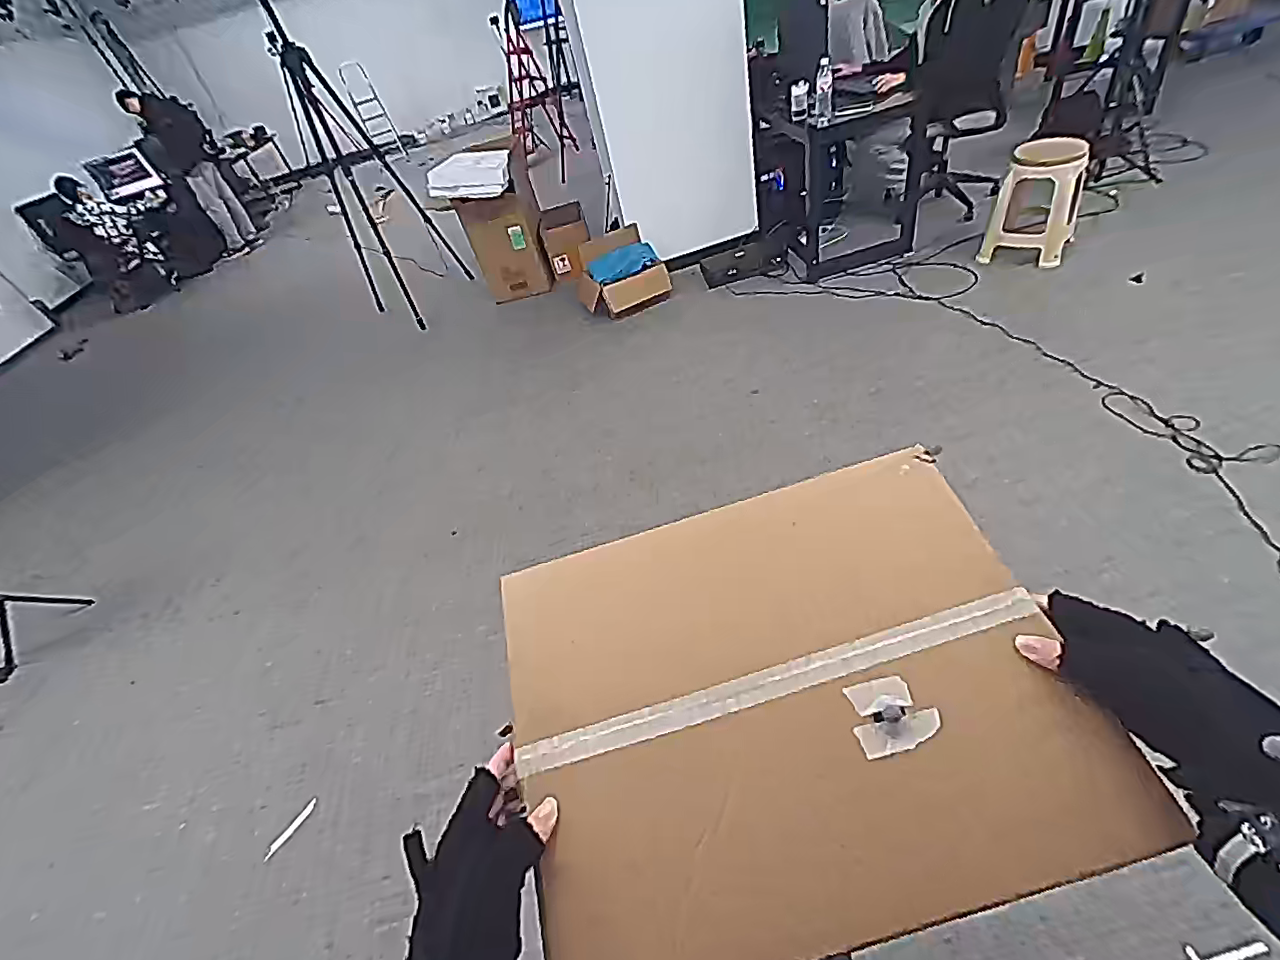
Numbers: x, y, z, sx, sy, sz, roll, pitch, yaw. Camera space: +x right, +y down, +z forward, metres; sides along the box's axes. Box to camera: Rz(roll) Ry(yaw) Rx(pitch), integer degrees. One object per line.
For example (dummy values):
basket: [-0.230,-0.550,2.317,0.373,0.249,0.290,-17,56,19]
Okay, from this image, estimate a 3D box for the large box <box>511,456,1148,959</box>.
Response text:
large box: [0.127,0.238,0.551,0.408,0.320,0.320,-18,57,0]
